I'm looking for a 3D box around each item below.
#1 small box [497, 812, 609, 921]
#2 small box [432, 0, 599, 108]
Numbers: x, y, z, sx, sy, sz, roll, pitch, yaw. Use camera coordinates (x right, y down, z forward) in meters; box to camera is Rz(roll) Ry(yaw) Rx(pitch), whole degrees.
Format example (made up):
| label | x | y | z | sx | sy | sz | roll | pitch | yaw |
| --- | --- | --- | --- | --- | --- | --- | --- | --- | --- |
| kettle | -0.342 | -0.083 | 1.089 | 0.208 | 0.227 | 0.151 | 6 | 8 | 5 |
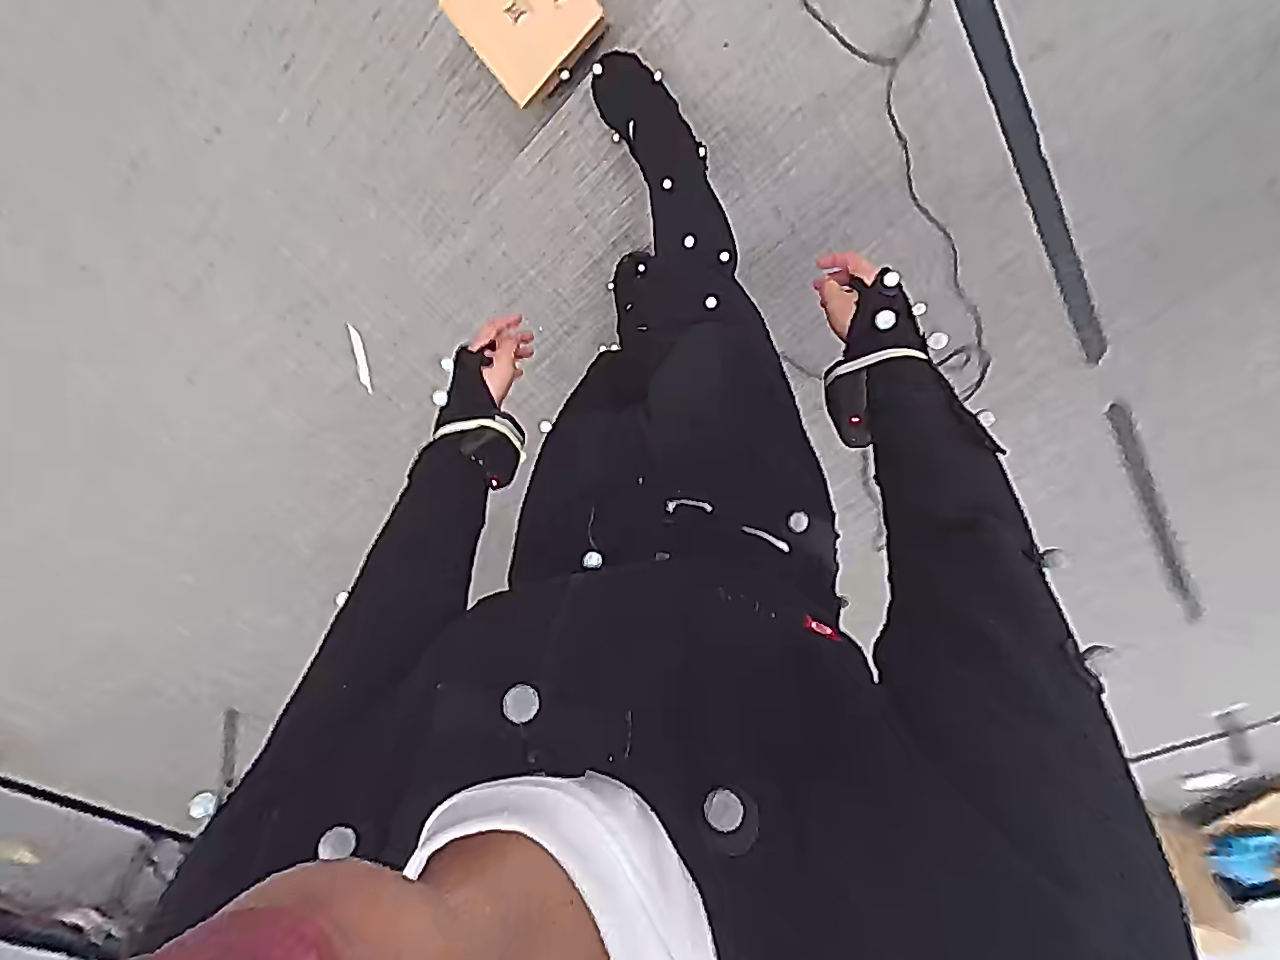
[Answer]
| label | x | y | z | sx | sy | sz | roll | pitch | yaw |
| --- | --- | --- | --- | --- | --- | --- | --- | --- | --- |
| small box | -0.184 | 0.864 | 1.197 | 0.168 | 0.176 | 0.179 | -33 | 120 | 21 |
| small box | -0.177 | -0.713 | 0.830 | 0.179 | 0.176 | 0.168 | -34 | 120 | 23 |
